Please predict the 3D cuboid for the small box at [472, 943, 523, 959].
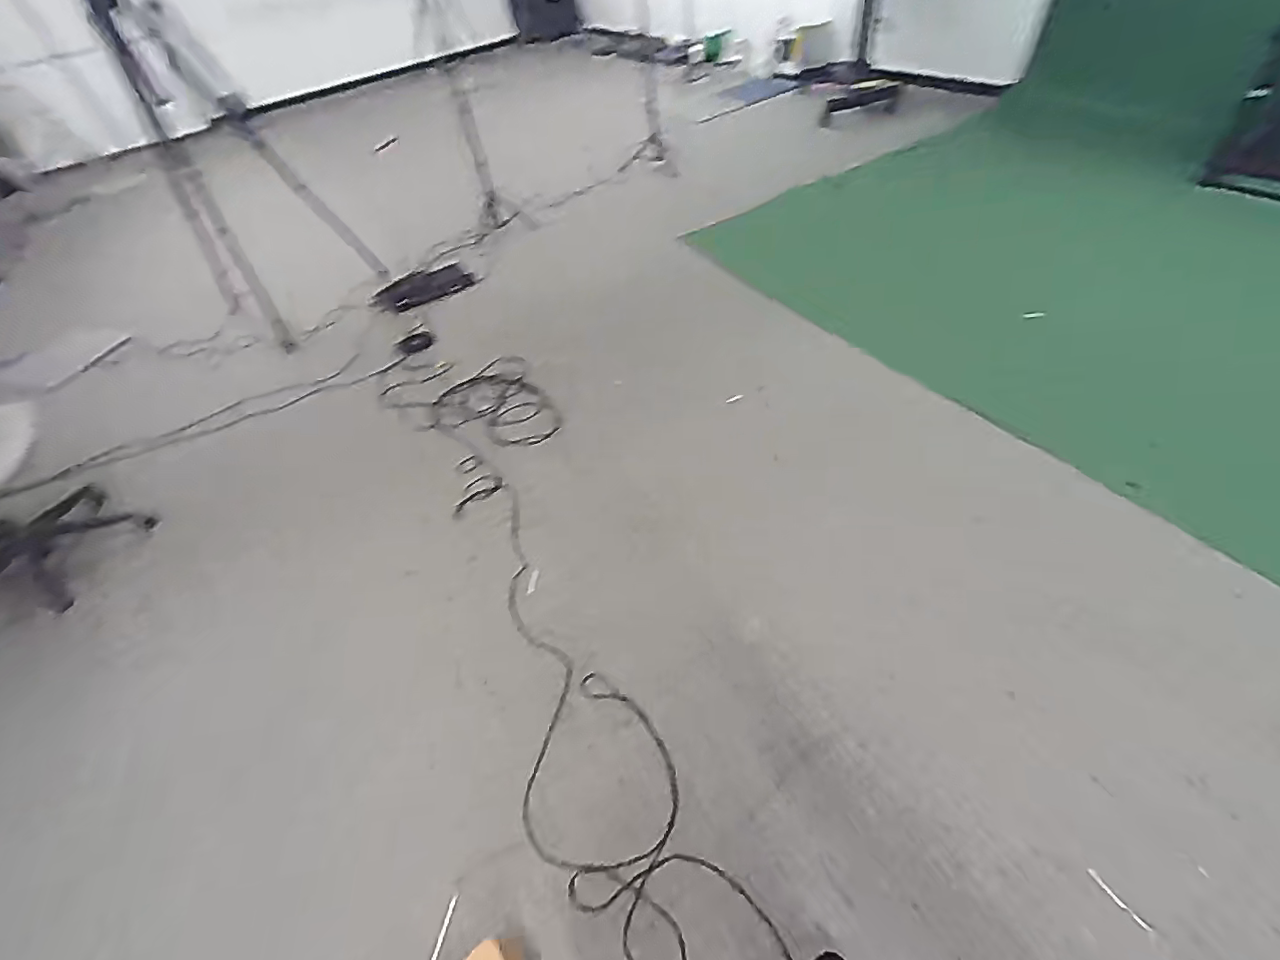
[{"bbox_3d":[-0.288,1.021,1.009,0.179,0.176,0.168,-36,53,-22],"label":"small box"}]
